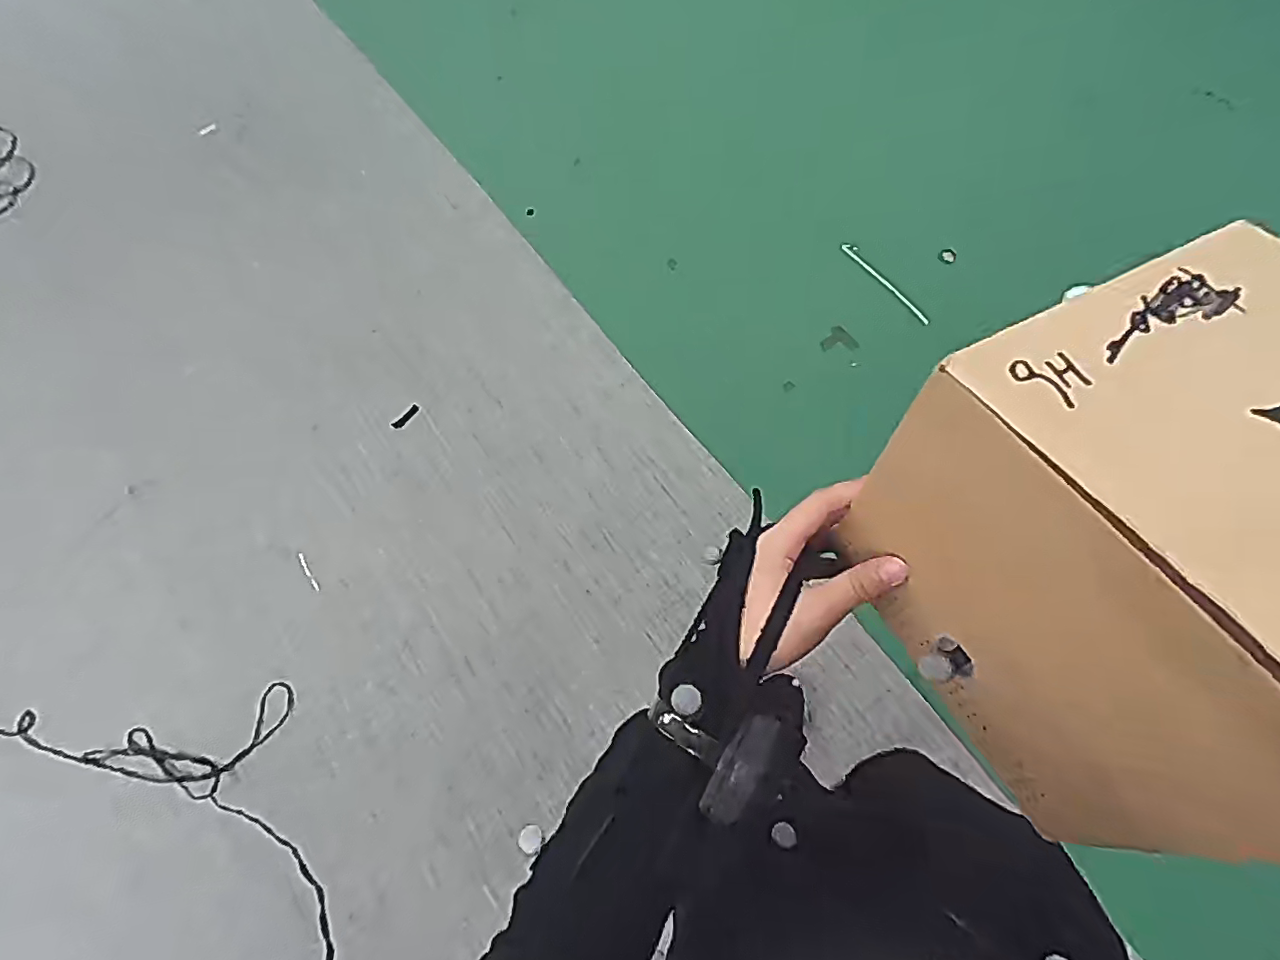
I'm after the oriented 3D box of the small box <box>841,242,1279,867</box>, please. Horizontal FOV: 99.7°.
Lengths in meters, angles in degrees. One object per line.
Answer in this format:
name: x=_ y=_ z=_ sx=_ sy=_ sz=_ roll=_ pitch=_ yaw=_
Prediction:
small box: x=0.224 y=0.037 z=0.243 sx=0.168 sy=0.176 sz=0.179 roll=-23 pitch=60 yaw=-10
